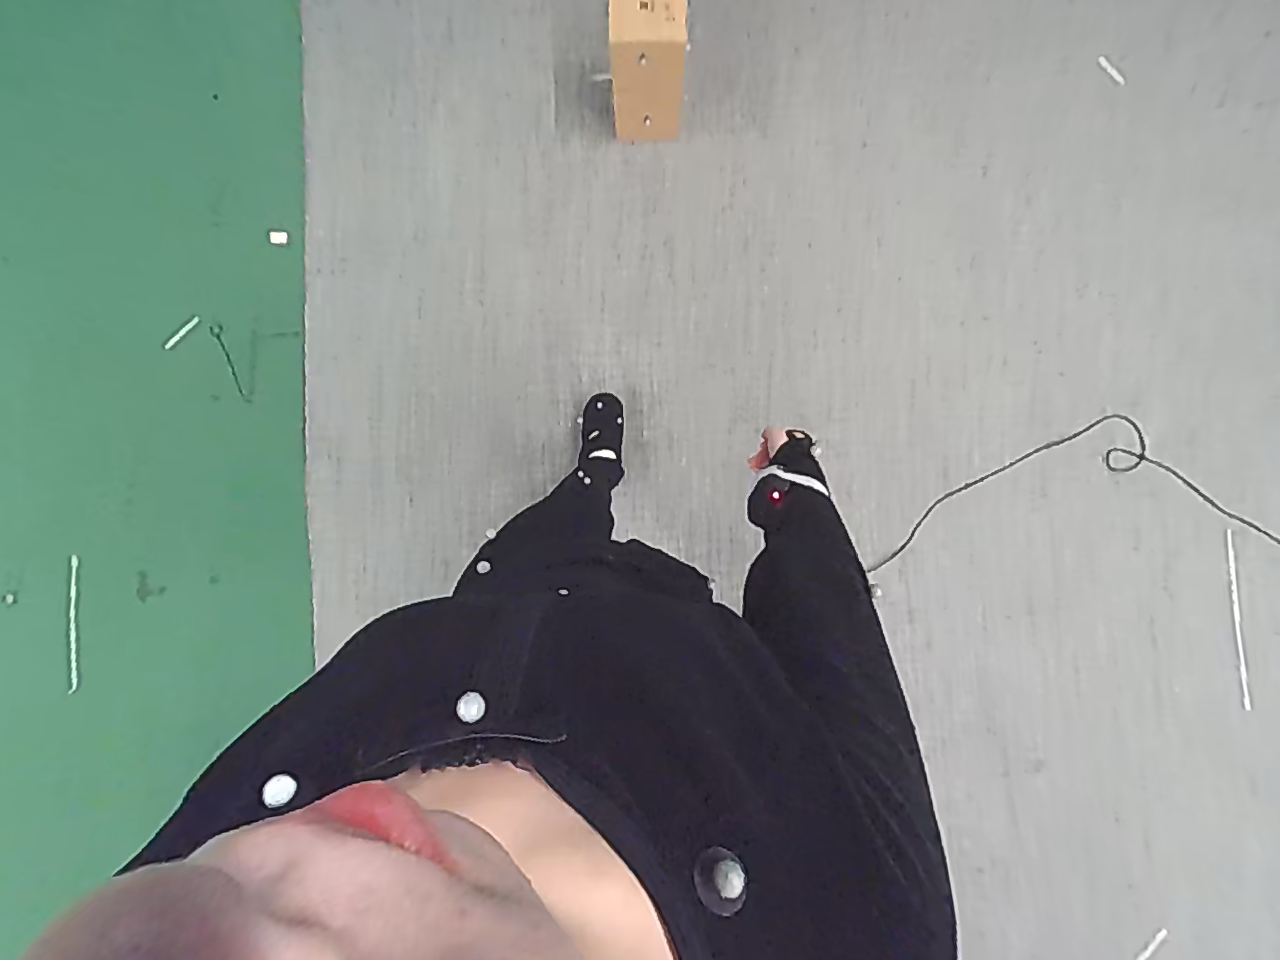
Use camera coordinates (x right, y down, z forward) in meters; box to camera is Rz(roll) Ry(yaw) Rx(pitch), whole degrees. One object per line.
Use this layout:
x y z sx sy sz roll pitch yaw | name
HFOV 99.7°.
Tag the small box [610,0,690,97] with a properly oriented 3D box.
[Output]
0.025 -1.044 1.278 0.179 0.176 0.168 1 89 1 | small box
